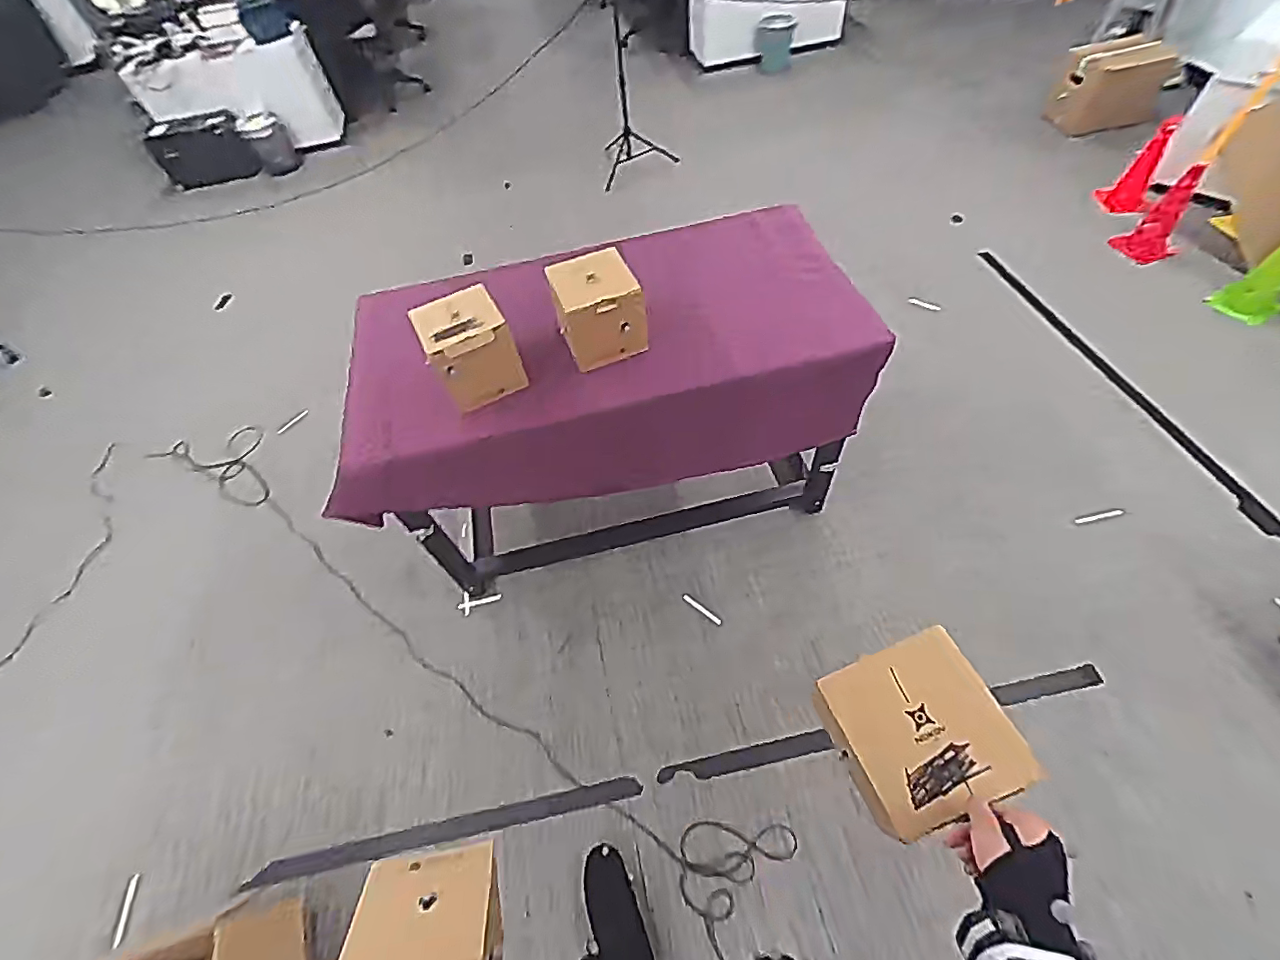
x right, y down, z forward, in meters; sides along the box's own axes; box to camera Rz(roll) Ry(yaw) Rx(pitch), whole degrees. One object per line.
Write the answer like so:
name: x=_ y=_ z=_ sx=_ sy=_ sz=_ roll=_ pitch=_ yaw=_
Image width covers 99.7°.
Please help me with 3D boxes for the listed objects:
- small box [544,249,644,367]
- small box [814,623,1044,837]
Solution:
small box: x=-0.097 y=-0.373 z=1.203 sx=0.168 sy=0.176 sz=0.179 roll=-20 pitch=55 yaw=-8
small box: x=0.329 y=0.305 z=0.661 sx=0.168 sy=0.176 sz=0.179 roll=-24 pitch=56 yaw=1
